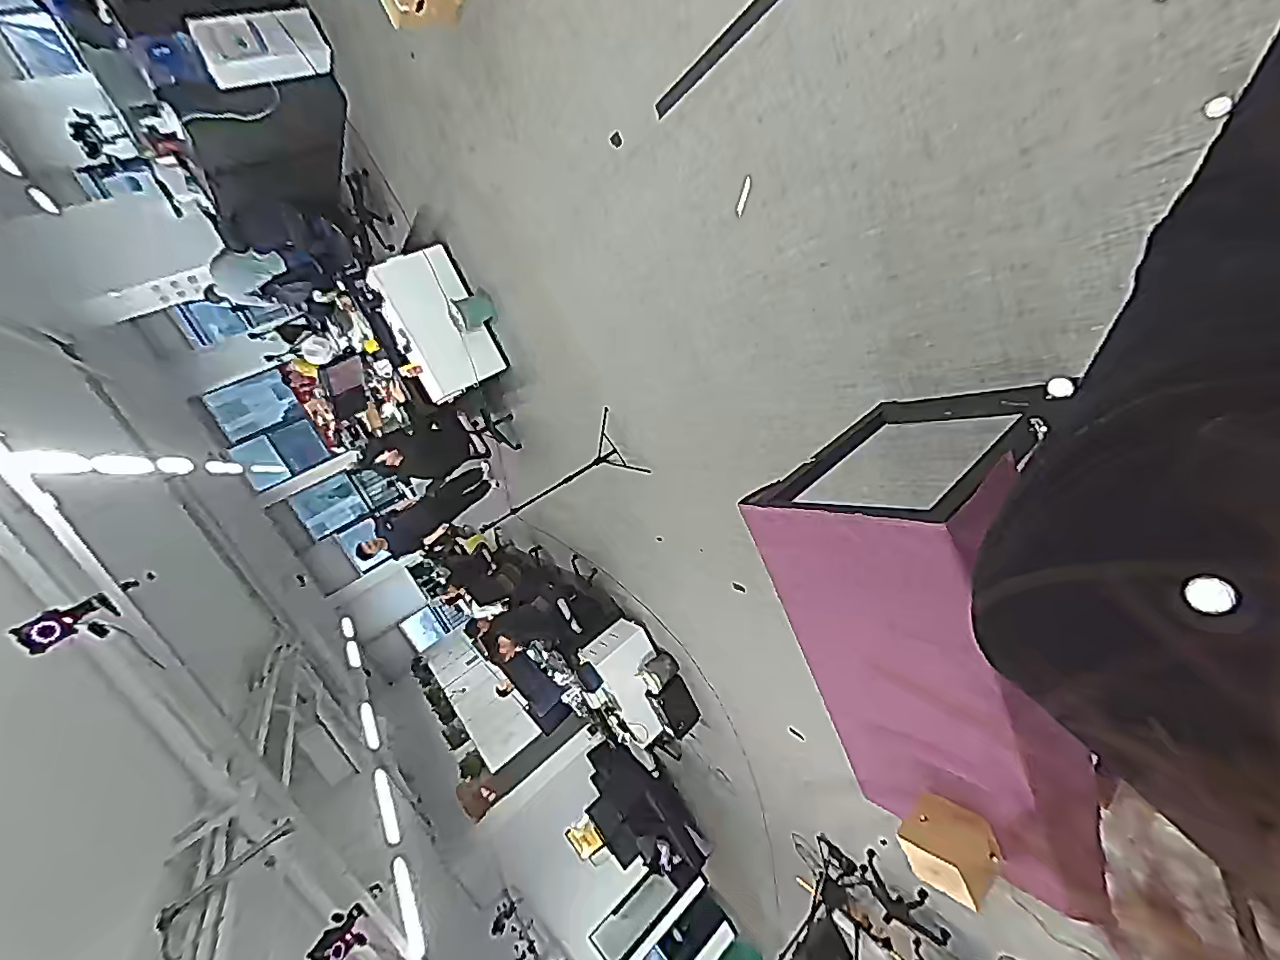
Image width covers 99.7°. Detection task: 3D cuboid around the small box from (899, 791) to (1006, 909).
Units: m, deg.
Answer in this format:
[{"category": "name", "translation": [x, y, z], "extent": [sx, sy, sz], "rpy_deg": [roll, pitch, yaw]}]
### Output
[{"category": "small box", "translation": [0.860, 1.003, 1.488], "extent": [0.179, 0.176, 0.168], "rpy_deg": [-4, 117, 60]}]
